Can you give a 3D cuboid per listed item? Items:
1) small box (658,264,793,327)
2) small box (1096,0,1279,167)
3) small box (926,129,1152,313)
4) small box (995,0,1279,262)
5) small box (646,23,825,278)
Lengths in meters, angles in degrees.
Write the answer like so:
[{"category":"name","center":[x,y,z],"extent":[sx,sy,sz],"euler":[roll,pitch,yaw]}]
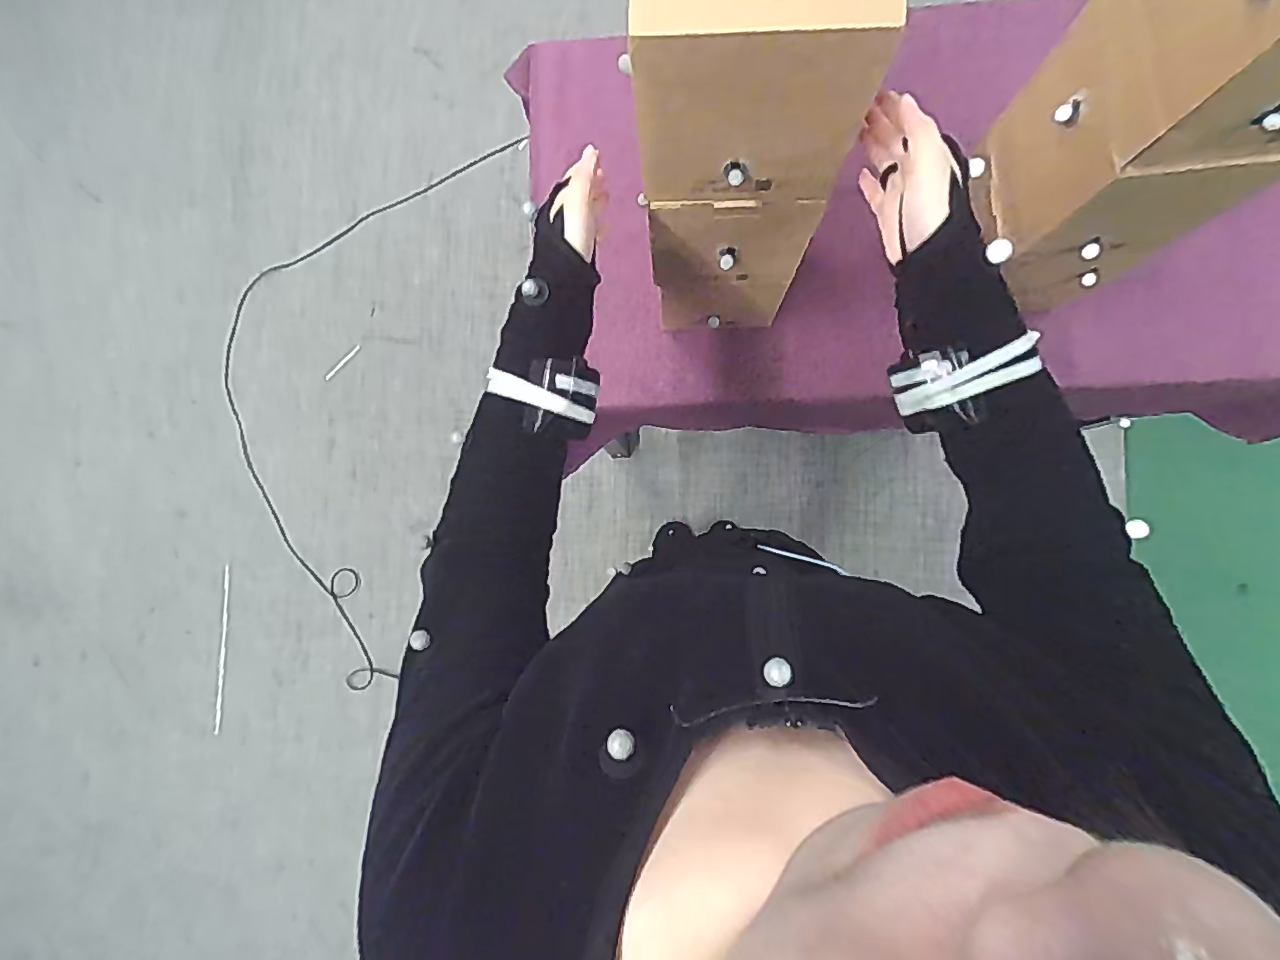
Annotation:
[{"category":"small box","center":[0.109,-0.325,0.742],"extent":[0.168,0.176,0.179],"euler":[0,86,4]},{"category":"small box","center":[0.478,-0.367,0.389],"extent":[0.168,0.176,0.179],"euler":[-5,86,5]},{"category":"small box","center":[0.507,-0.333,0.712],"extent":[0.179,0.176,0.168],"euler":[-2,85,4]},{"category":"small box","center":[0.494,-0.348,0.550],"extent":[0.168,0.176,0.179],"euler":[-3,86,5]},{"category":"small box","center":[0.094,-0.330,0.579],"extent":[0.168,0.176,0.179],"euler":[0,86,4]}]
